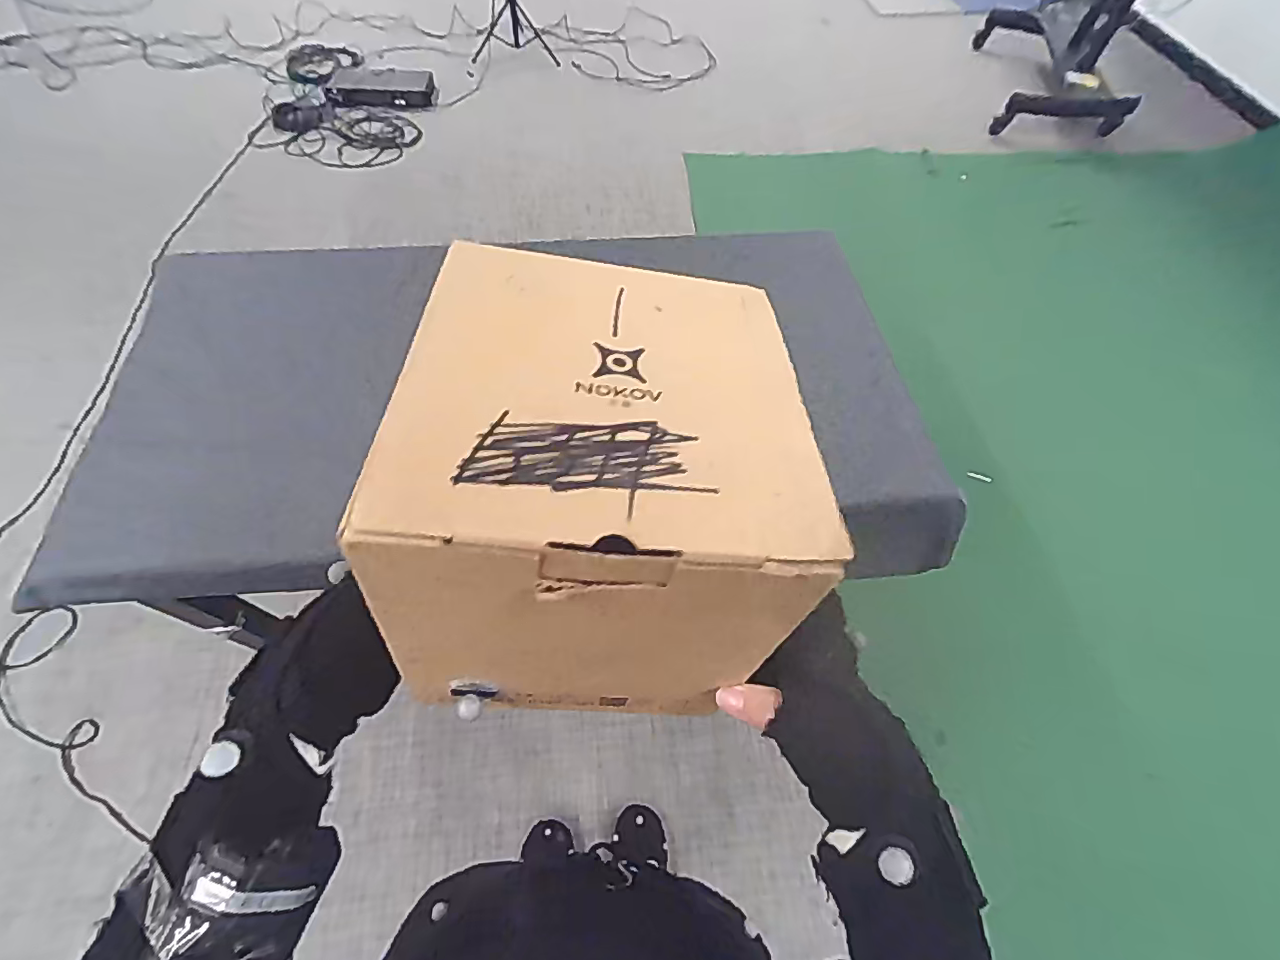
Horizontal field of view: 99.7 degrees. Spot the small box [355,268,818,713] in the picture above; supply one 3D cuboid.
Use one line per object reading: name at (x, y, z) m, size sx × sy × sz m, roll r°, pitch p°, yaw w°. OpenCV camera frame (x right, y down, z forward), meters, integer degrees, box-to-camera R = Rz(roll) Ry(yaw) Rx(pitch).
small box at (-0.028, 0.016, 0.299) m, size 0.168 × 0.176 × 0.179 m, roll 7°, pitch 50°, yaw -9°
